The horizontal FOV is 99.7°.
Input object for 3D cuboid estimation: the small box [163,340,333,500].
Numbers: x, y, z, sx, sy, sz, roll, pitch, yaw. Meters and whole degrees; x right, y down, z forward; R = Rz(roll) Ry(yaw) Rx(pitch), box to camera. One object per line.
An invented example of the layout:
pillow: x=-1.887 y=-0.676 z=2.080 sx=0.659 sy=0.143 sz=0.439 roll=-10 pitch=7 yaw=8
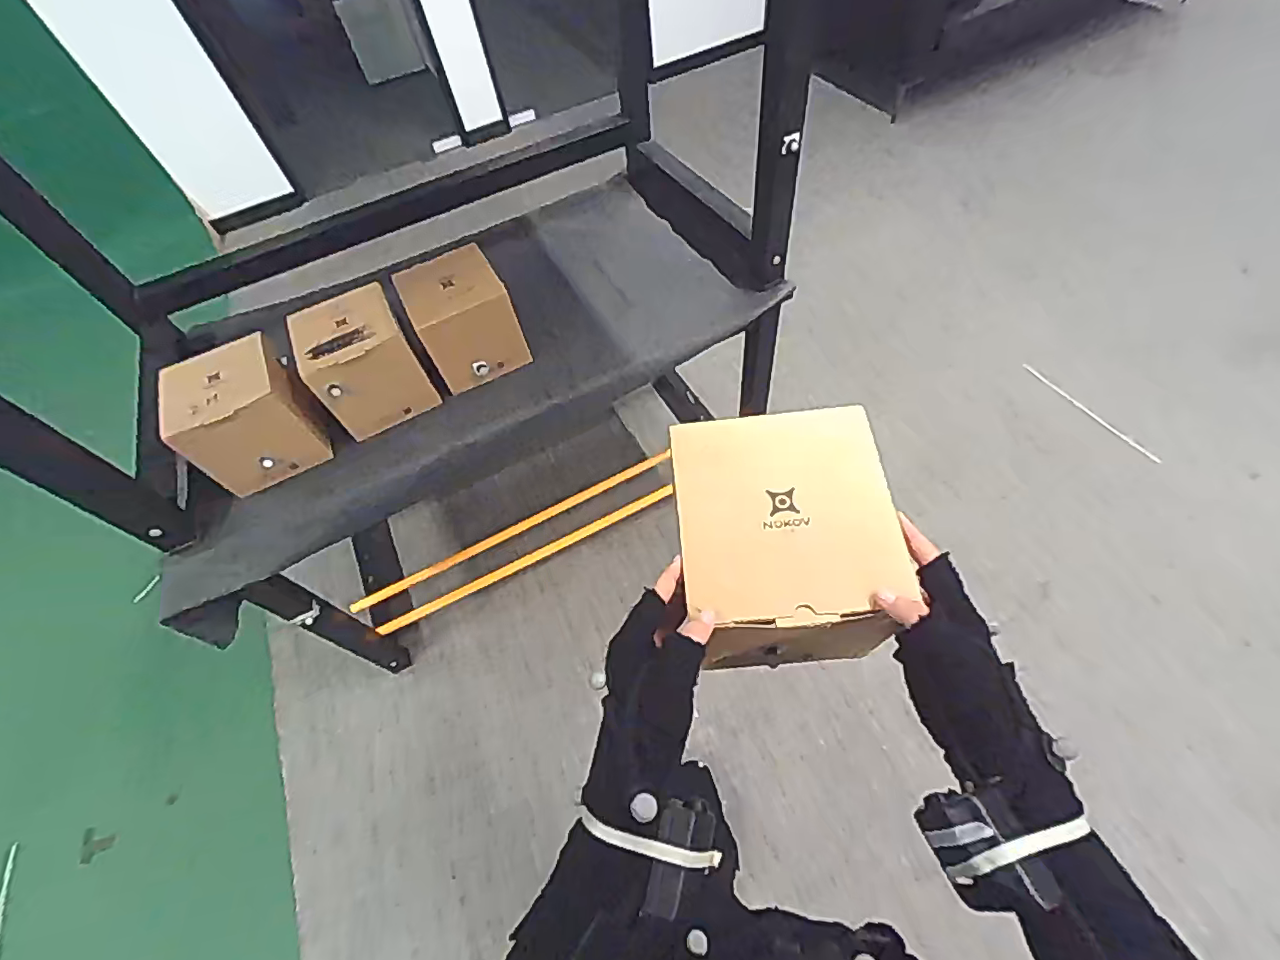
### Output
small box: x=-0.657 y=-0.098 z=0.919 sx=0.168 sy=0.176 sz=0.179 roll=-27 pitch=57 yaw=-11
